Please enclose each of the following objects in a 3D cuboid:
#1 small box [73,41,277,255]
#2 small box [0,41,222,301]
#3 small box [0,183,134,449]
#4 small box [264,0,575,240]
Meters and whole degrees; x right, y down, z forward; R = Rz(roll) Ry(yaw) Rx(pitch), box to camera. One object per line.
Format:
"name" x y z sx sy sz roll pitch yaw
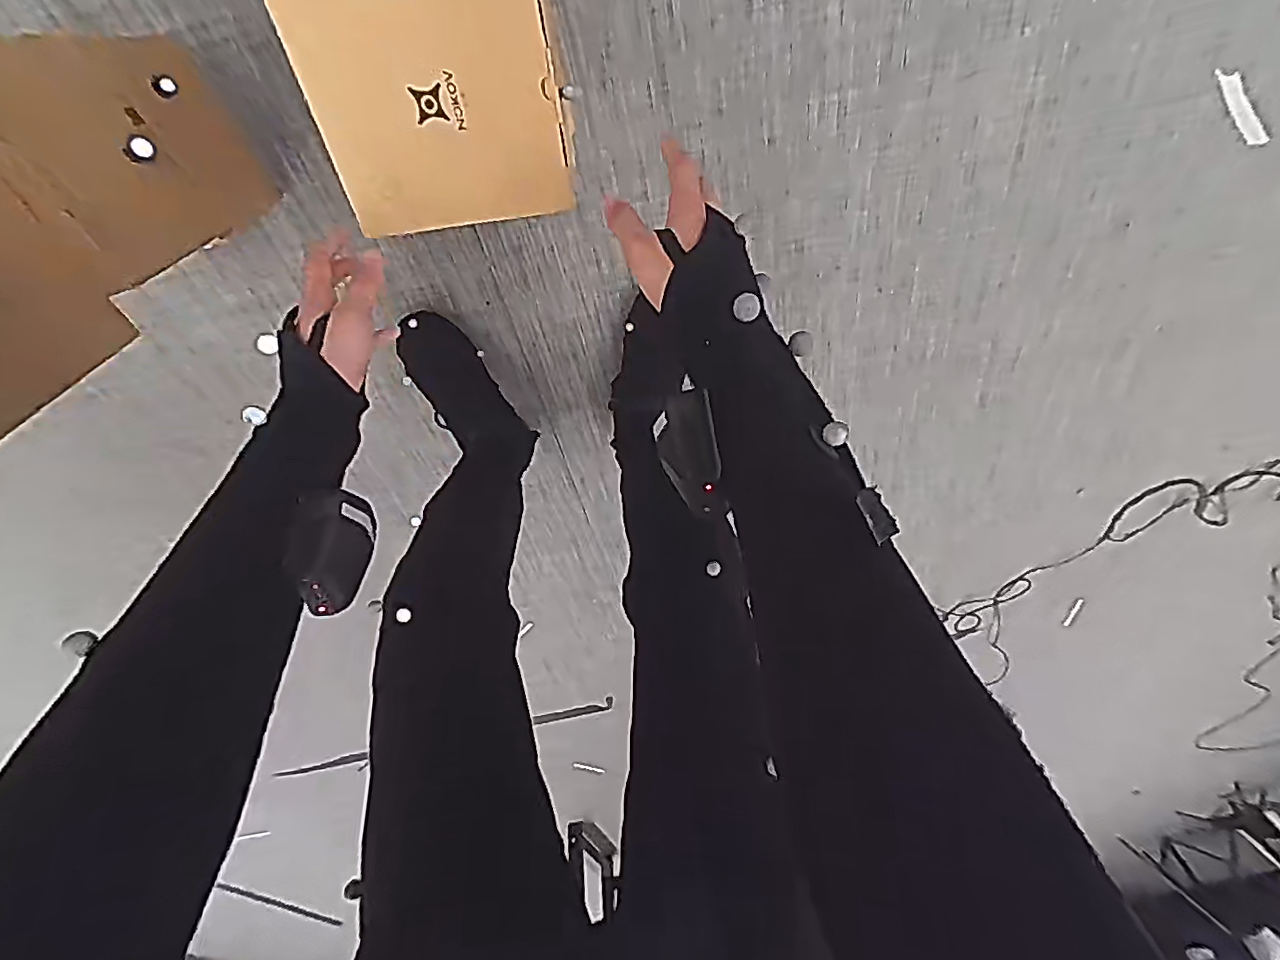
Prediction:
"small box" -0.547 -0.342 0.583 0.168 0.176 0.179 -15 131 6
"small box" -0.518 -0.241 0.457 0.179 0.176 0.168 -16 131 6
"small box" -0.511 -0.113 0.350 0.168 0.176 0.179 -12 132 5
"small box" -0.153 -0.317 0.444 0.179 0.176 0.168 -9 131 -1
